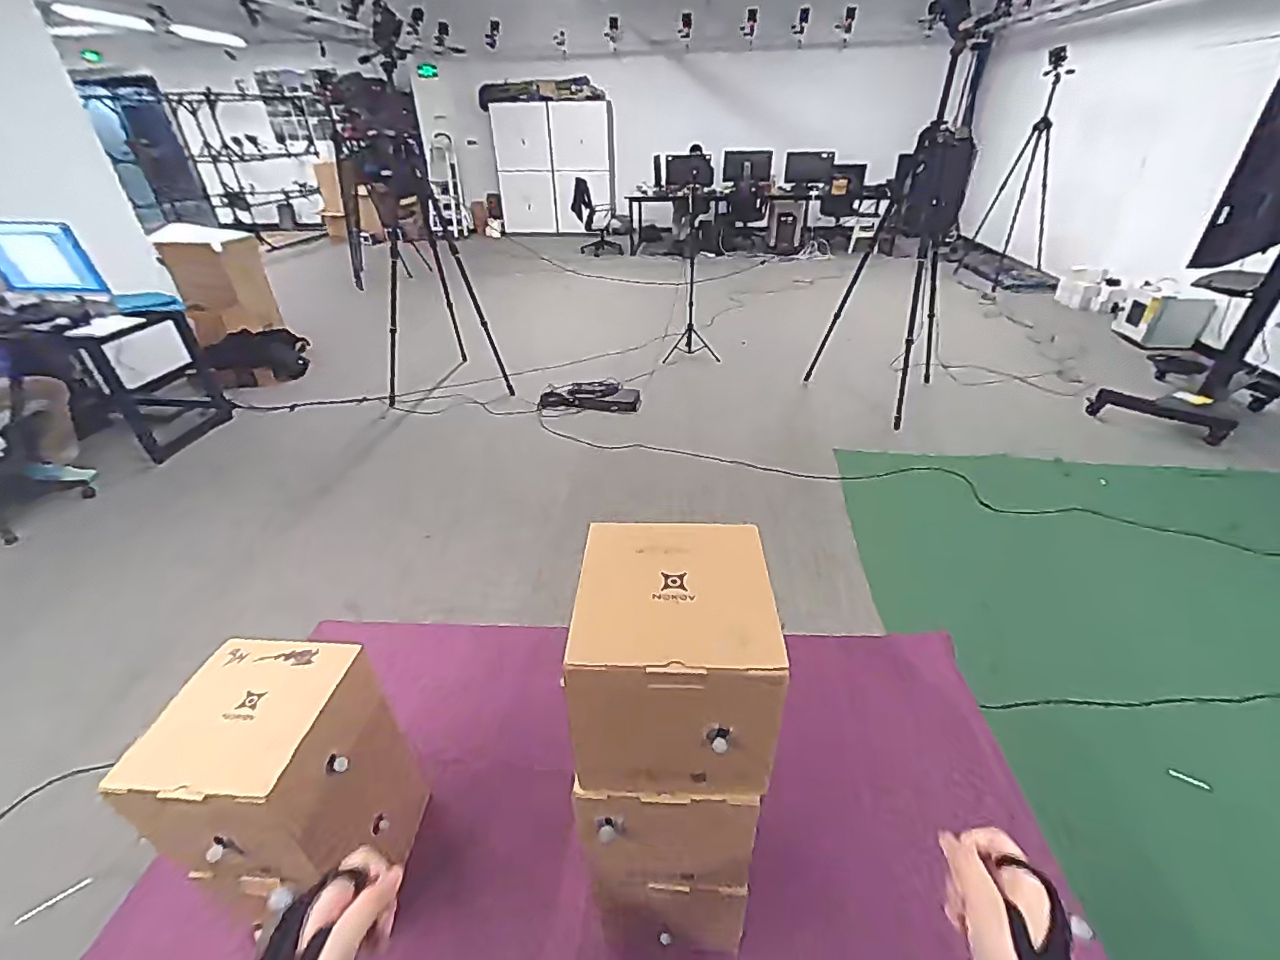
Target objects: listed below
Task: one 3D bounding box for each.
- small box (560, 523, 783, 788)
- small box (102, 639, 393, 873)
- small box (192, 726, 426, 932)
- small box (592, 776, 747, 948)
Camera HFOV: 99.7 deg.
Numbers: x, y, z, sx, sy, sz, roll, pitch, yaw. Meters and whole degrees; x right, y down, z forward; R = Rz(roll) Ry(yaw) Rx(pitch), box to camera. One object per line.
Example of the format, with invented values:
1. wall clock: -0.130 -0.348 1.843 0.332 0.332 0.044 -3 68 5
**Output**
1. small box: 0.029 0.157 0.500 0.168 0.176 0.179 1 33 3
2. small box: -0.402 0.302 0.599 0.168 0.176 0.179 2 34 4
3. small box: -0.395 0.440 0.689 0.168 0.176 0.179 0 32 3
4. small box: 0.039 0.436 0.674 0.168 0.176 0.179 1 34 6
